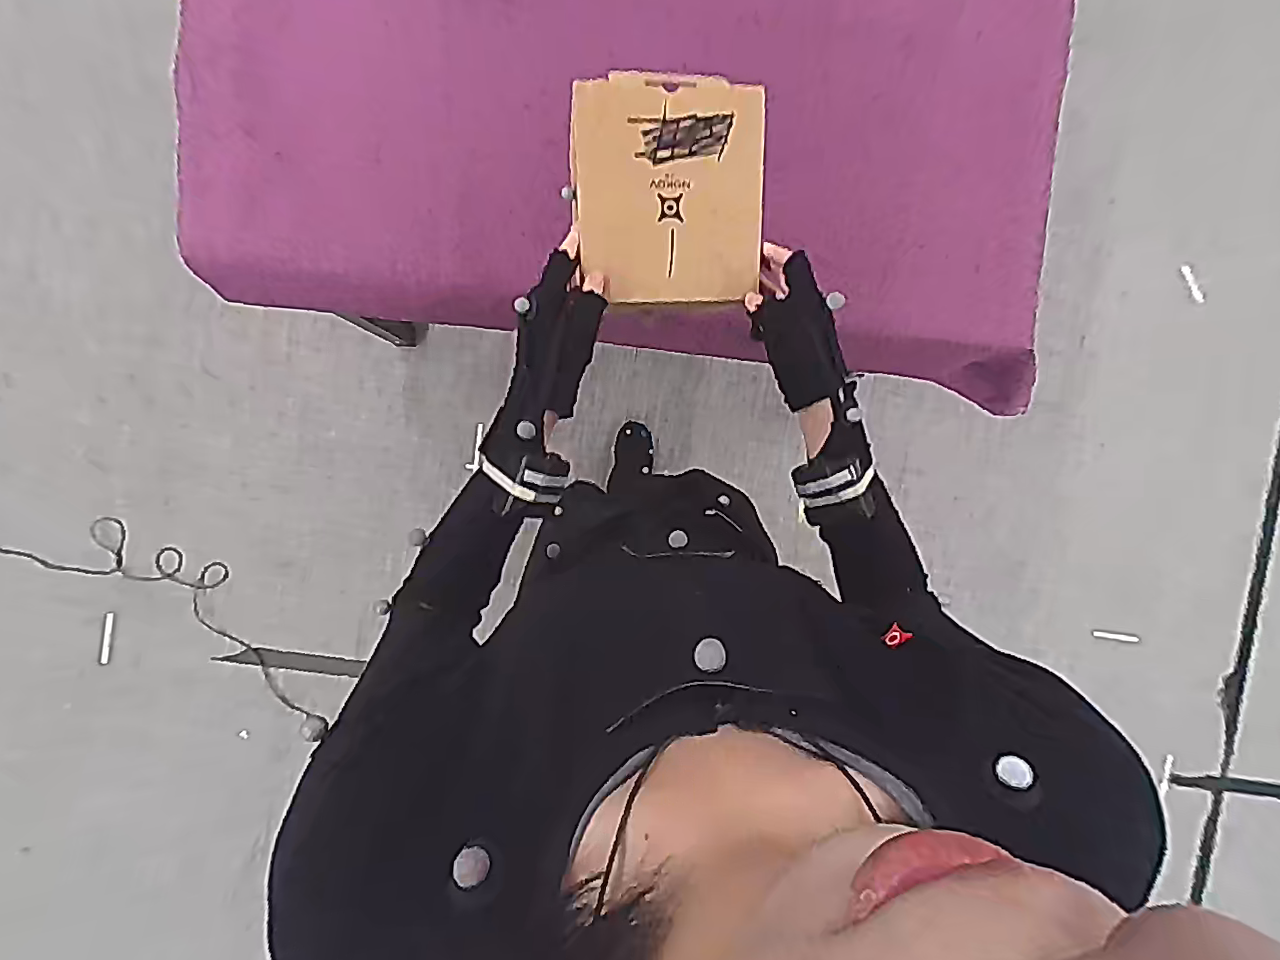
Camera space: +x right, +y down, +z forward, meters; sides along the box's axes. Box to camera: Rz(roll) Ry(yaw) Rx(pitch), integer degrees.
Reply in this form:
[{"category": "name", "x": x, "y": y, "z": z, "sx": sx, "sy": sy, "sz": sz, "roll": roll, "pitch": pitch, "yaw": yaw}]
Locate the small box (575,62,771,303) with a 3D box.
[{"category": "small box", "x": 0.021, "y": -0.276, "z": 0.543, "sx": 0.168, "sy": 0.176, "sz": 0.179, "roll": -3, "pitch": 105, "yaw": -7}]
